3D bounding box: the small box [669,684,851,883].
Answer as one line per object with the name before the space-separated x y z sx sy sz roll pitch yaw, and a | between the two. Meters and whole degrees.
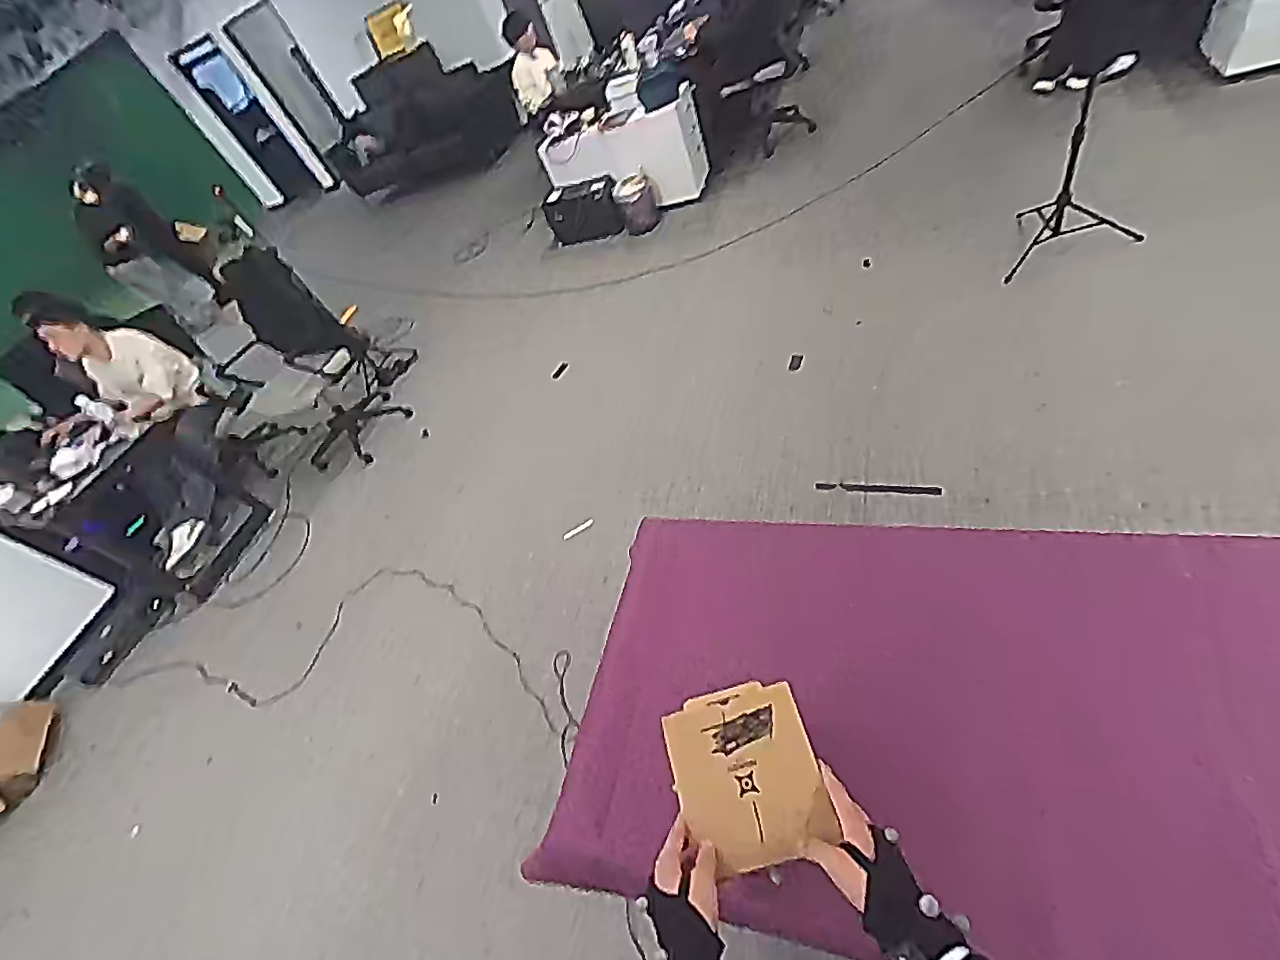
small box | 0.147 0.384 0.680 0.168 0.176 0.179 -19 53 6
